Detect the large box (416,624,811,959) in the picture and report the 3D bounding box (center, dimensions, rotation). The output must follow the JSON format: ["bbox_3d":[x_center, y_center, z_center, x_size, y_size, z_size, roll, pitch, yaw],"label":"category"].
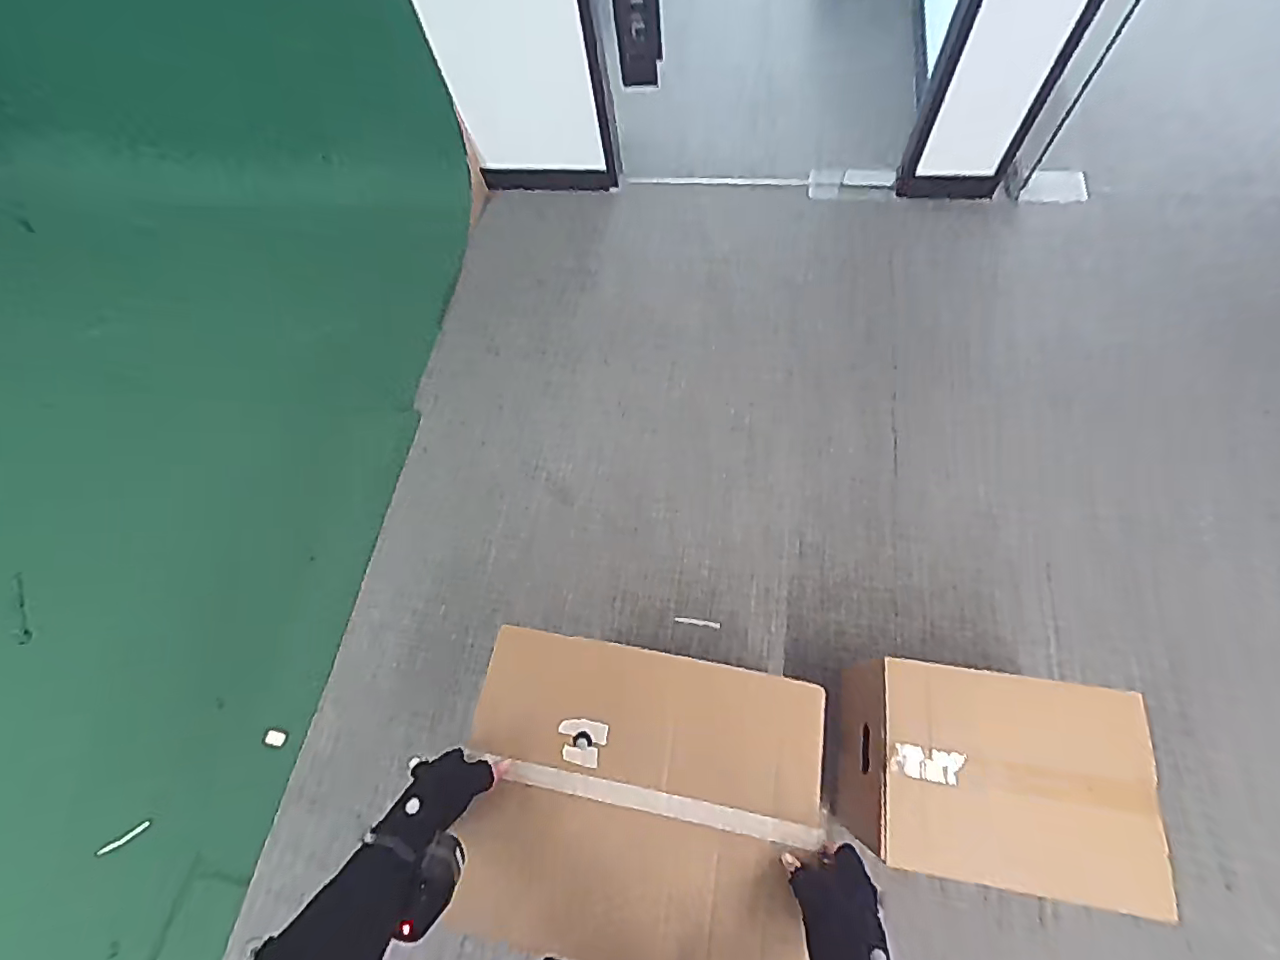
[{"bbox_3d":[-0.005,0.404,0.739,0.408,0.320,0.320,8,68,10],"label":"large box"}]
